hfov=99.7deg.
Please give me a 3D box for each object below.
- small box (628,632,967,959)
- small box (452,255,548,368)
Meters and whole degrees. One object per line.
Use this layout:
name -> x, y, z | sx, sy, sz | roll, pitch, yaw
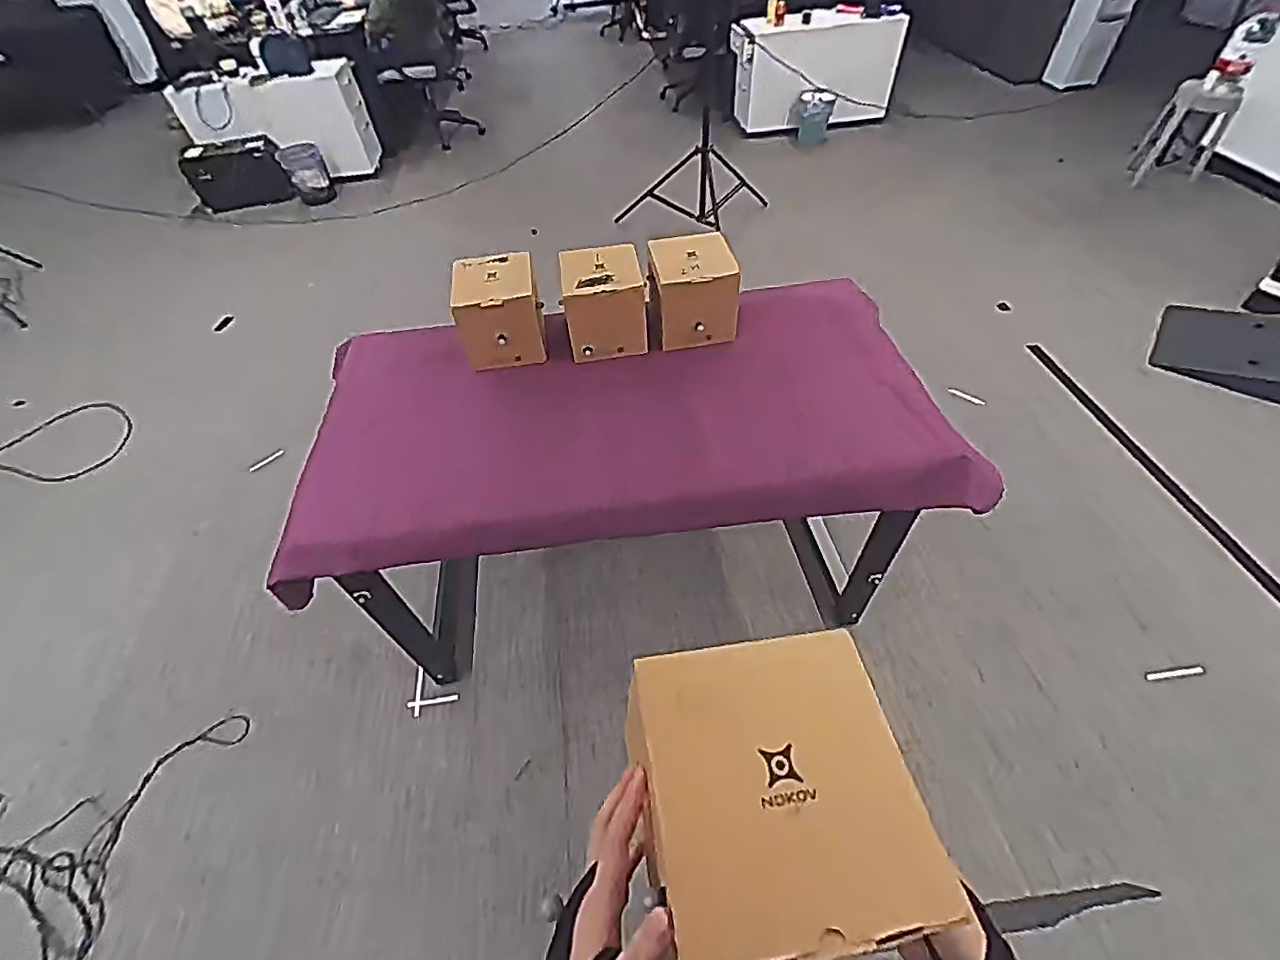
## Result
small box -> 0.085, 0.239, 0.404 | 0.168, 0.176, 0.179 | -6, 50, -9
small box -> -0.300, -0.361, 1.184 | 0.168, 0.176, 0.179 | -9, 53, -3
